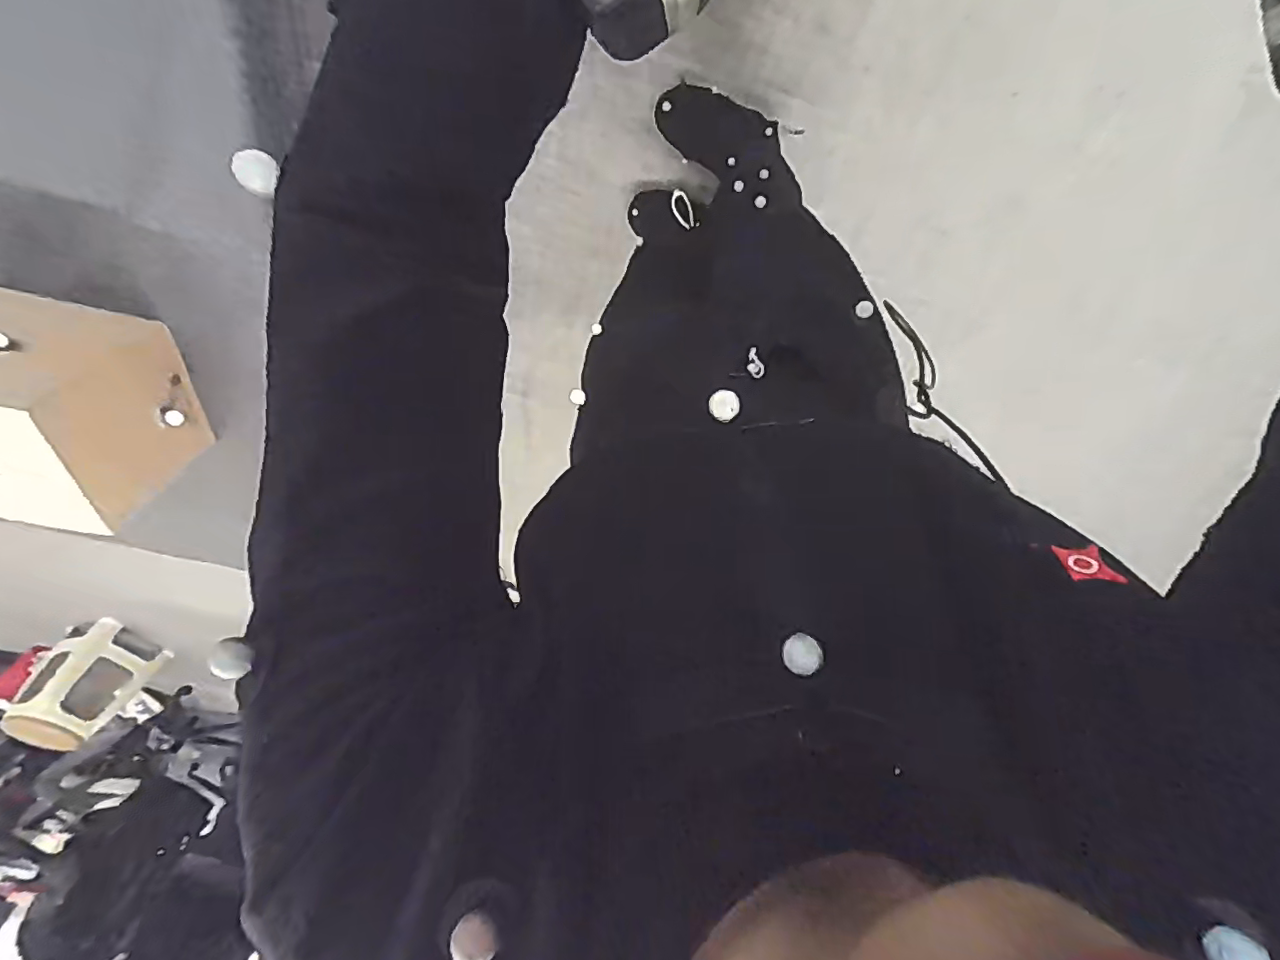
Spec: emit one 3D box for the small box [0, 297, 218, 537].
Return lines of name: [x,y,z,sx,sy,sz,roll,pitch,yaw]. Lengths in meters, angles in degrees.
small box: [-0.599,-0.069,0.559,0.179,0.176,0.168,11,132,-4]
